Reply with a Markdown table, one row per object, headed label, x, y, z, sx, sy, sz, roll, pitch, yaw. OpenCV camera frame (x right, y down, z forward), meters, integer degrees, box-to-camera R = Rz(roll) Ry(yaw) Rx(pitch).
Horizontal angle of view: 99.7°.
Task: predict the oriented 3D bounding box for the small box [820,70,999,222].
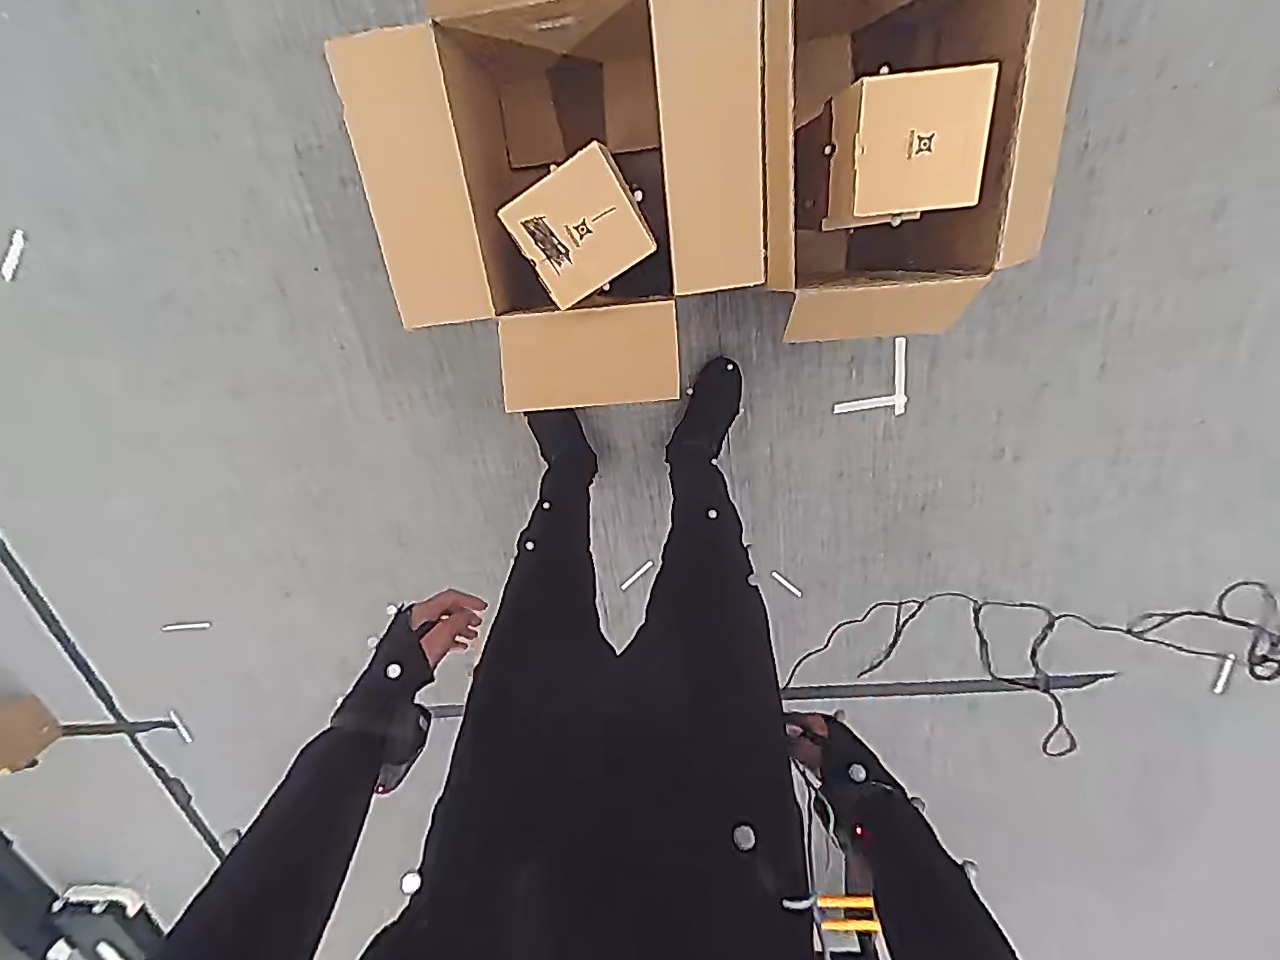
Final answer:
| label | x | y | z | sx | sy | sz | roll | pitch | yaw |
| --- | --- | --- | --- | --- | --- | --- | --- | --- | --- |
| small box | 0.381 | -0.482 | 0.799 | 0.179 | 0.176 | 0.168 | -4 | 116 | 5 |
